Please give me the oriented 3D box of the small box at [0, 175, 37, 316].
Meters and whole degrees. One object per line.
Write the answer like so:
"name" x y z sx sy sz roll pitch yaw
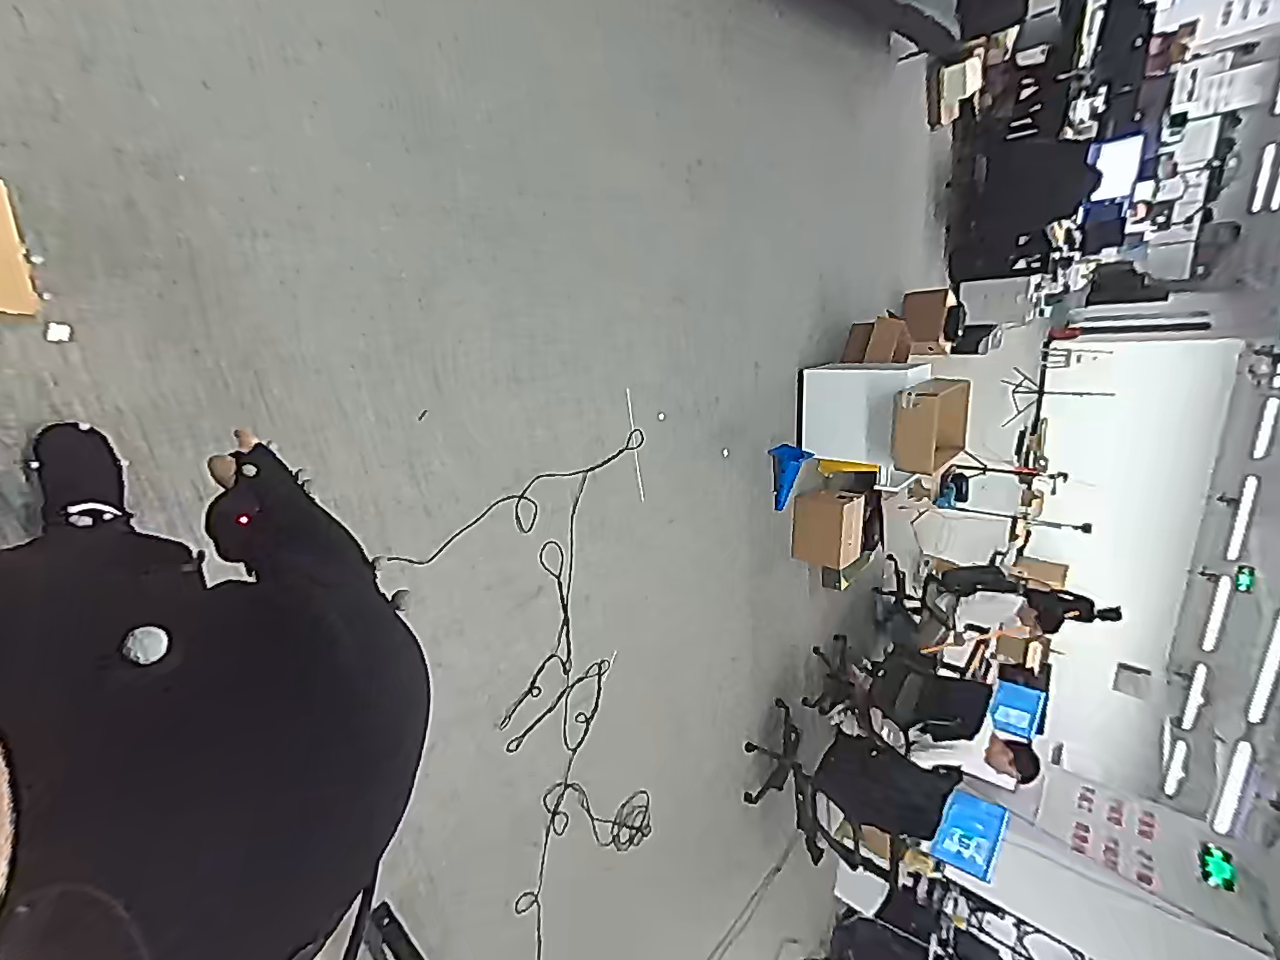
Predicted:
"small box" -0.960 -0.321 0.732 0.168 0.176 0.179 -15 110 -45
